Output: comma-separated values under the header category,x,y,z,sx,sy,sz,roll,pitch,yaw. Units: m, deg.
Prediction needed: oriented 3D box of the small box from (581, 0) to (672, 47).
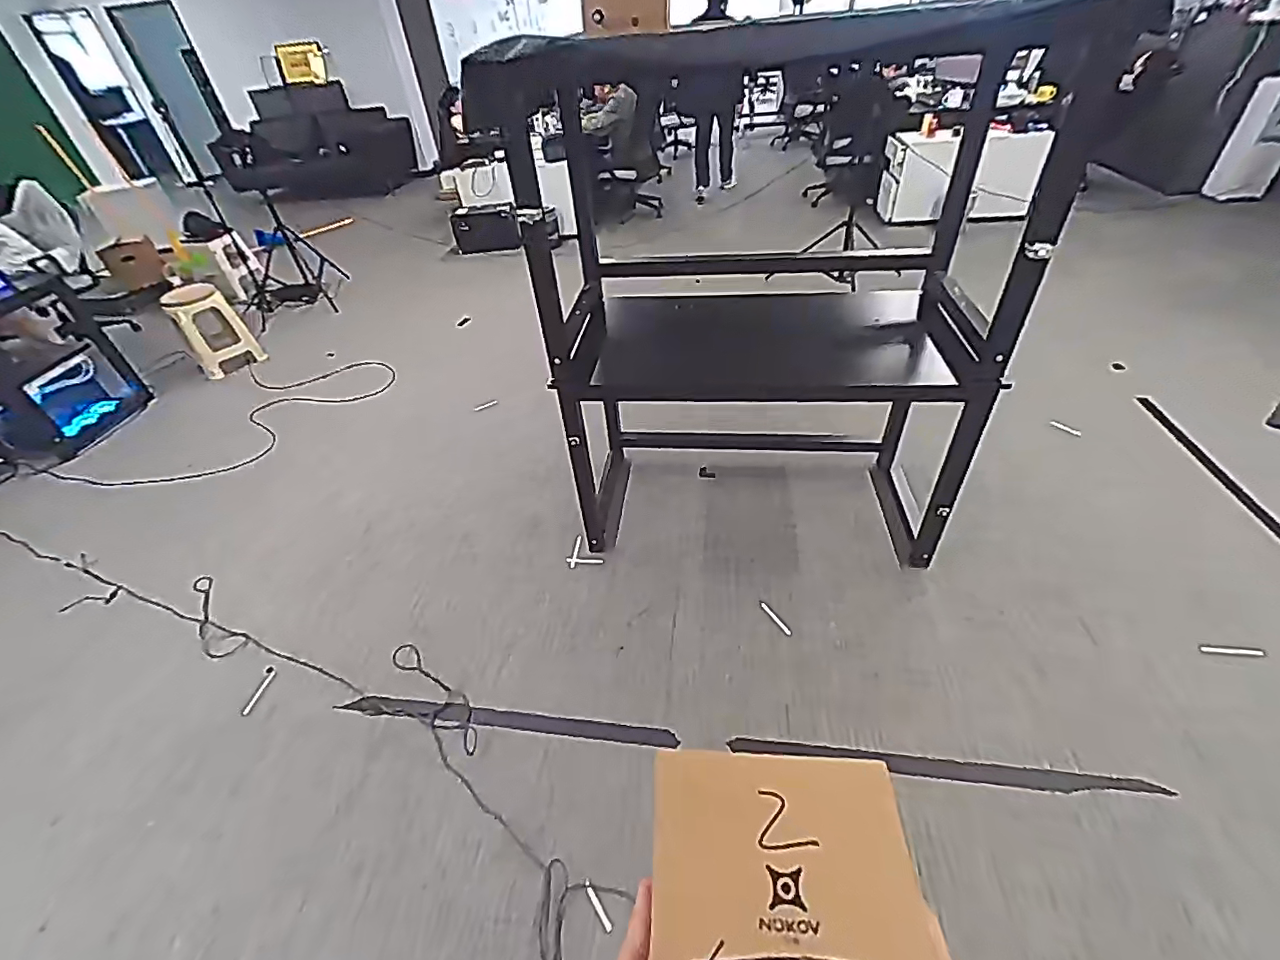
category,x,y,z,sx,sy,sz,roll,pitch,yaw
small box,-0.024,-0.958,1.050,0.168,0.176,0.179,1,39,5
